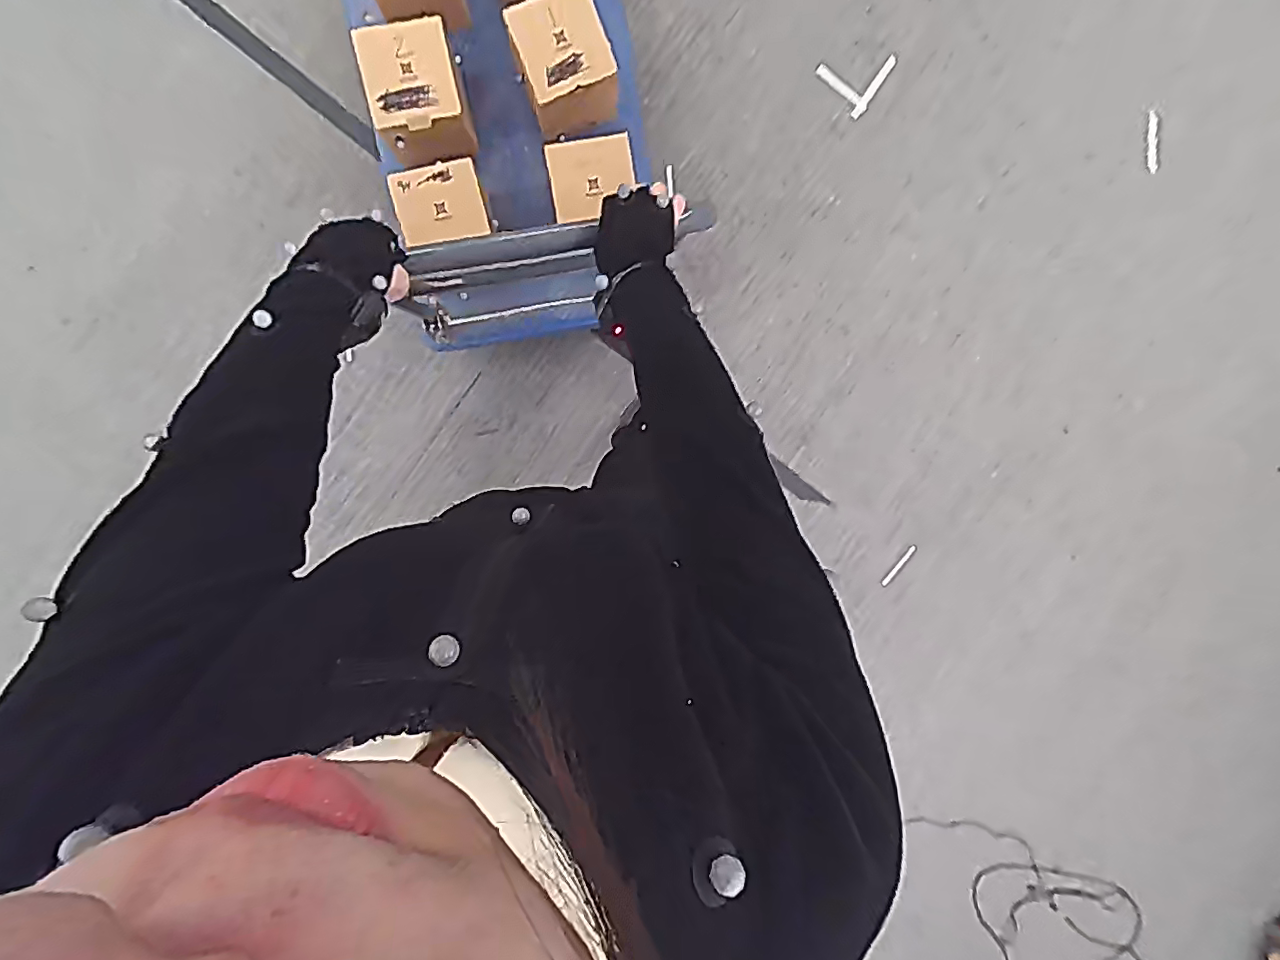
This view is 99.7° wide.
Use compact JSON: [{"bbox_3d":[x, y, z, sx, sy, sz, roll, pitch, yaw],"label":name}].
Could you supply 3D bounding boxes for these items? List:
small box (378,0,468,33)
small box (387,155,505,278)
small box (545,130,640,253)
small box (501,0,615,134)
[{"bbox_3d":[-0.444,-1.019,1.042,0.168,0.176,0.179,-9,99,-3],"label":"small box"},{"bbox_3d":[-0.387,-0.528,1.115,0.168,0.176,0.179,-15,99,-4],"label":"small box"},{"bbox_3d":[-0.097,-0.591,1.132,0.168,0.176,0.179,-11,98,-4],"label":"small box"},{"bbox_3d":[-0.157,-0.839,1.093,0.168,0.176,0.179,-23,98,-1],"label":"small box"}]
